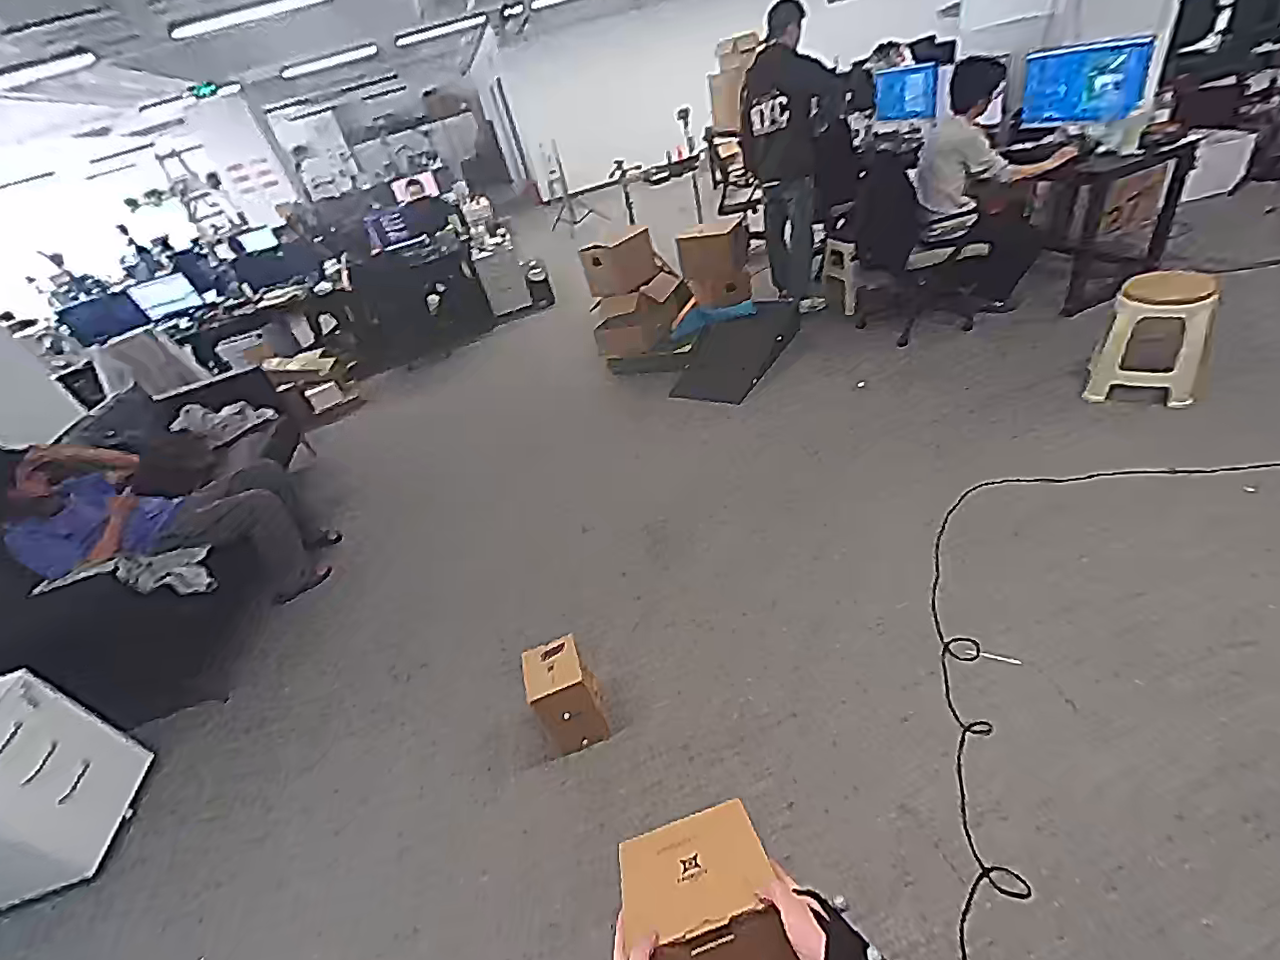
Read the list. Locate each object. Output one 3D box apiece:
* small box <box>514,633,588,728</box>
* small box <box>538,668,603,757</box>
[{"bbox_3d":[-0.264,0.595,1.602,0.168,0.176,0.179,-20,36,-3],"label":"small box"},{"bbox_3d":[-0.226,0.738,1.716,0.179,0.176,0.168,-21,37,-8],"label":"small box"}]
